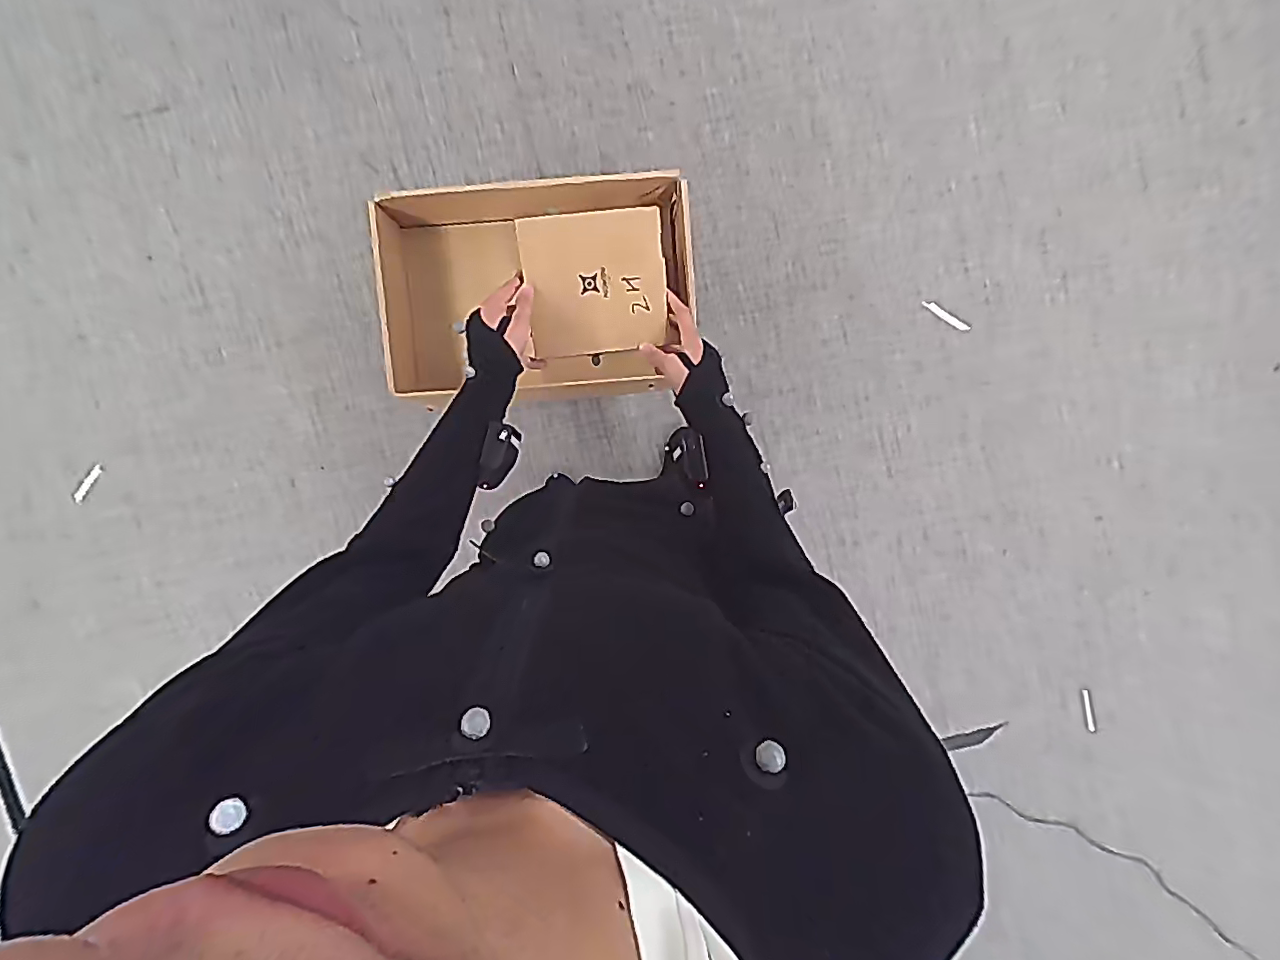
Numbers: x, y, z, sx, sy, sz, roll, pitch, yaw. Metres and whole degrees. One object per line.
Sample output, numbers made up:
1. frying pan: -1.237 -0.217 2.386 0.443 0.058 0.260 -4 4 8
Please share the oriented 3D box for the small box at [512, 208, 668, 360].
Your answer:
1. small box: -0.065 -0.252 0.730 0.179 0.176 0.168 -7 104 -5
